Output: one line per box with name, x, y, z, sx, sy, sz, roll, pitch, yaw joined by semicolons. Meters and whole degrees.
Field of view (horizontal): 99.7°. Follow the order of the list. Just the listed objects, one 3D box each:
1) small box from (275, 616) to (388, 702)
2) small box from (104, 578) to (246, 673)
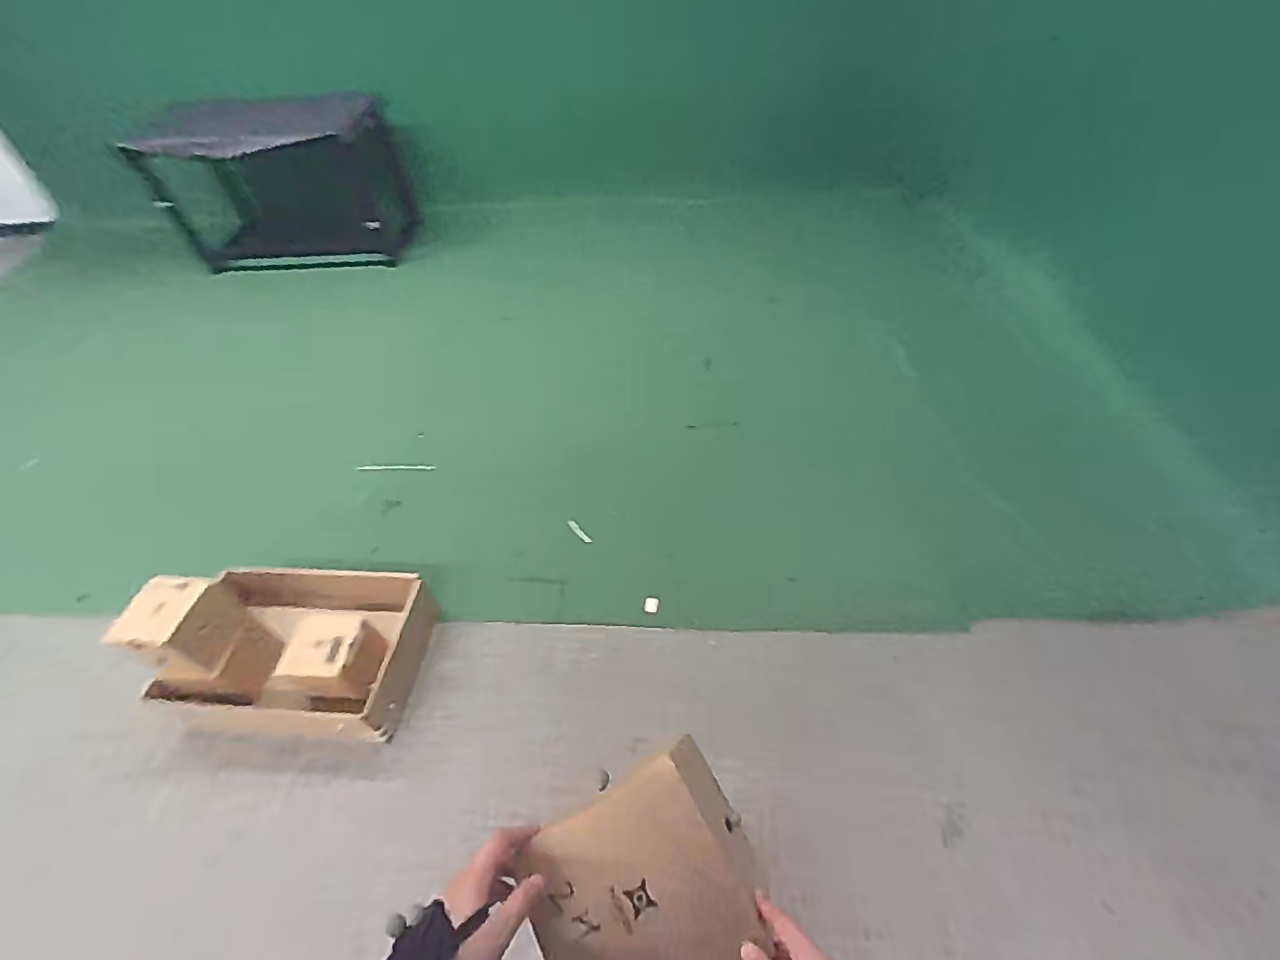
small box;-0.804;0.477;1.435;0.179;0.176;0.168;0;49;7
small box;-1.138;0.365;1.345;0.168;0.176;0.179;2;50;7
